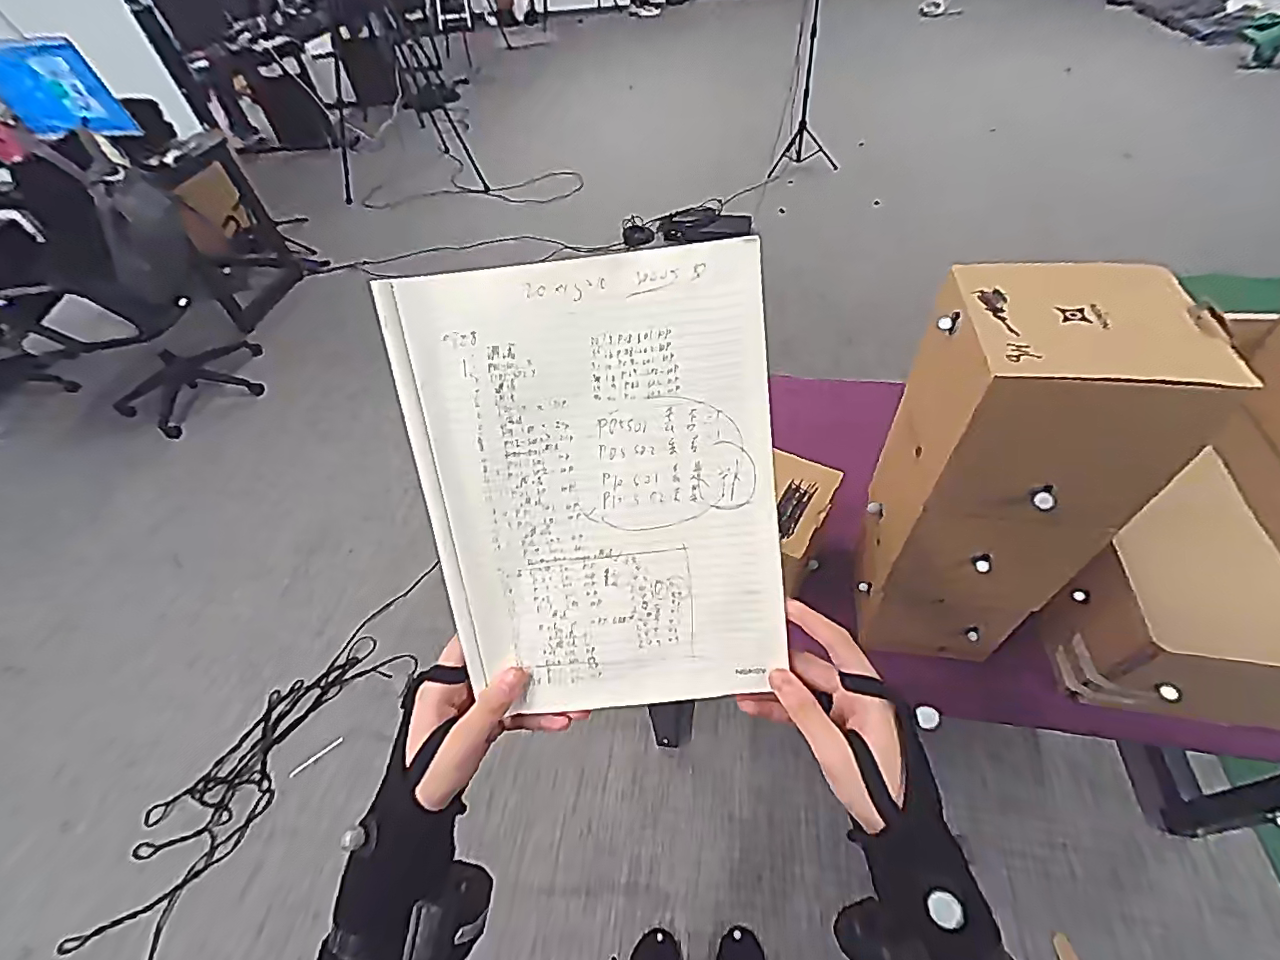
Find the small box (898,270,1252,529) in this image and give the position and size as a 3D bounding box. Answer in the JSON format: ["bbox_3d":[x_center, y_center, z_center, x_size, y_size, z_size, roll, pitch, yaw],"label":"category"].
[{"bbox_3d":[0.363,-0.071,0.500,0.179,0.176,0.168,5,49,10],"label":"small box"}]

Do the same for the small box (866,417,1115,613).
[{"bbox_3d":[0.377,0.036,0.624,0.179,0.176,0.168,5,49,11],"label":"small box"}]
